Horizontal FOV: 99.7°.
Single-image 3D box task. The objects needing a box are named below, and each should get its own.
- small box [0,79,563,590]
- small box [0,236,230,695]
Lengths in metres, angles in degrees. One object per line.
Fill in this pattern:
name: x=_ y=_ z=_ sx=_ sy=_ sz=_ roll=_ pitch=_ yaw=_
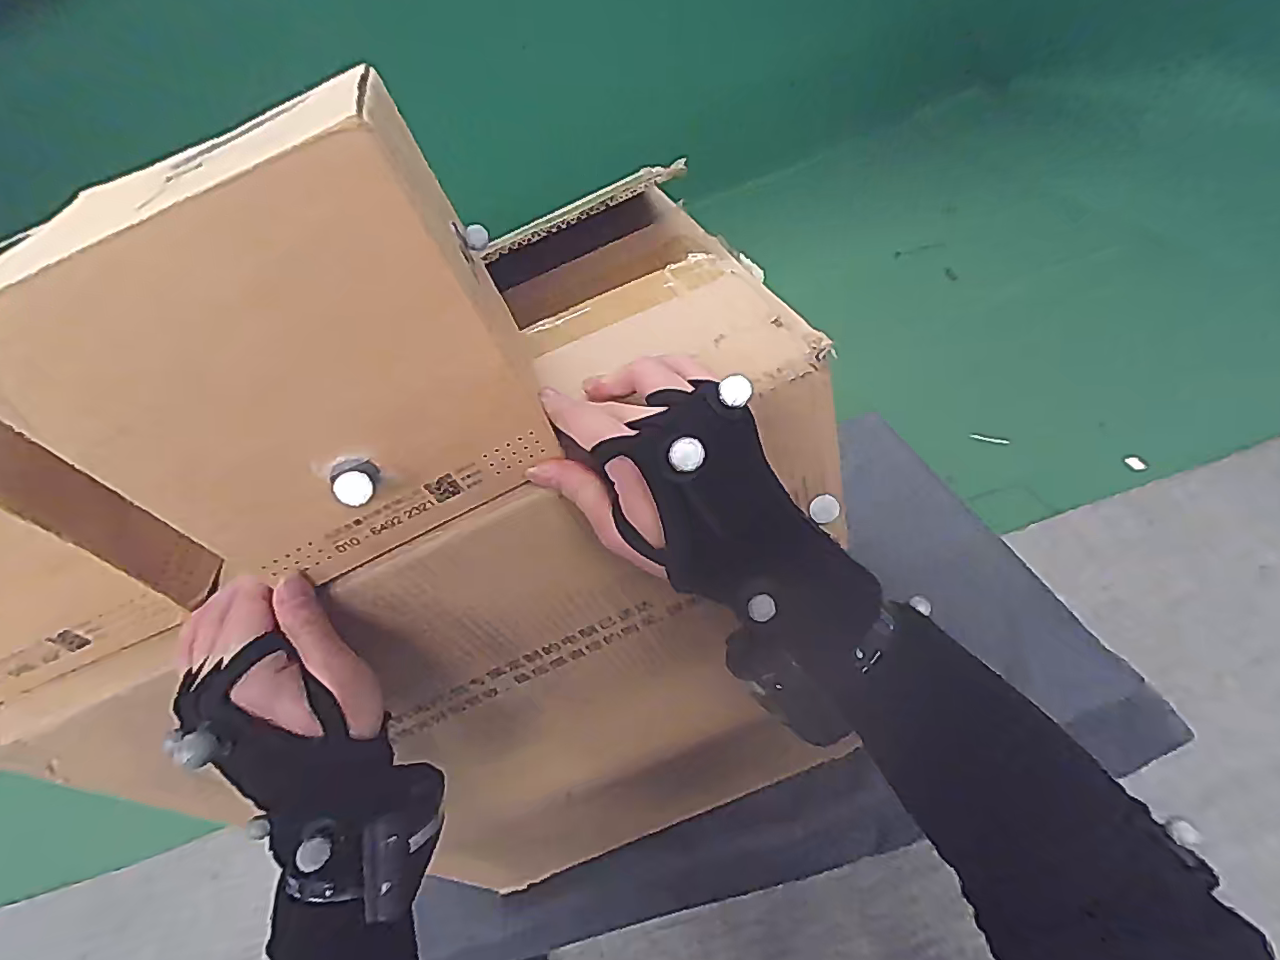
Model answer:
small box: x=-0.161 y=-0.076 z=0.288 sx=0.168 sy=0.176 sz=0.179 roll=-26 pitch=47 yaw=-2
small box: x=-0.359 y=0.002 z=0.307 sx=0.168 sy=0.176 sz=0.179 roll=-23 pitch=44 yaw=3
